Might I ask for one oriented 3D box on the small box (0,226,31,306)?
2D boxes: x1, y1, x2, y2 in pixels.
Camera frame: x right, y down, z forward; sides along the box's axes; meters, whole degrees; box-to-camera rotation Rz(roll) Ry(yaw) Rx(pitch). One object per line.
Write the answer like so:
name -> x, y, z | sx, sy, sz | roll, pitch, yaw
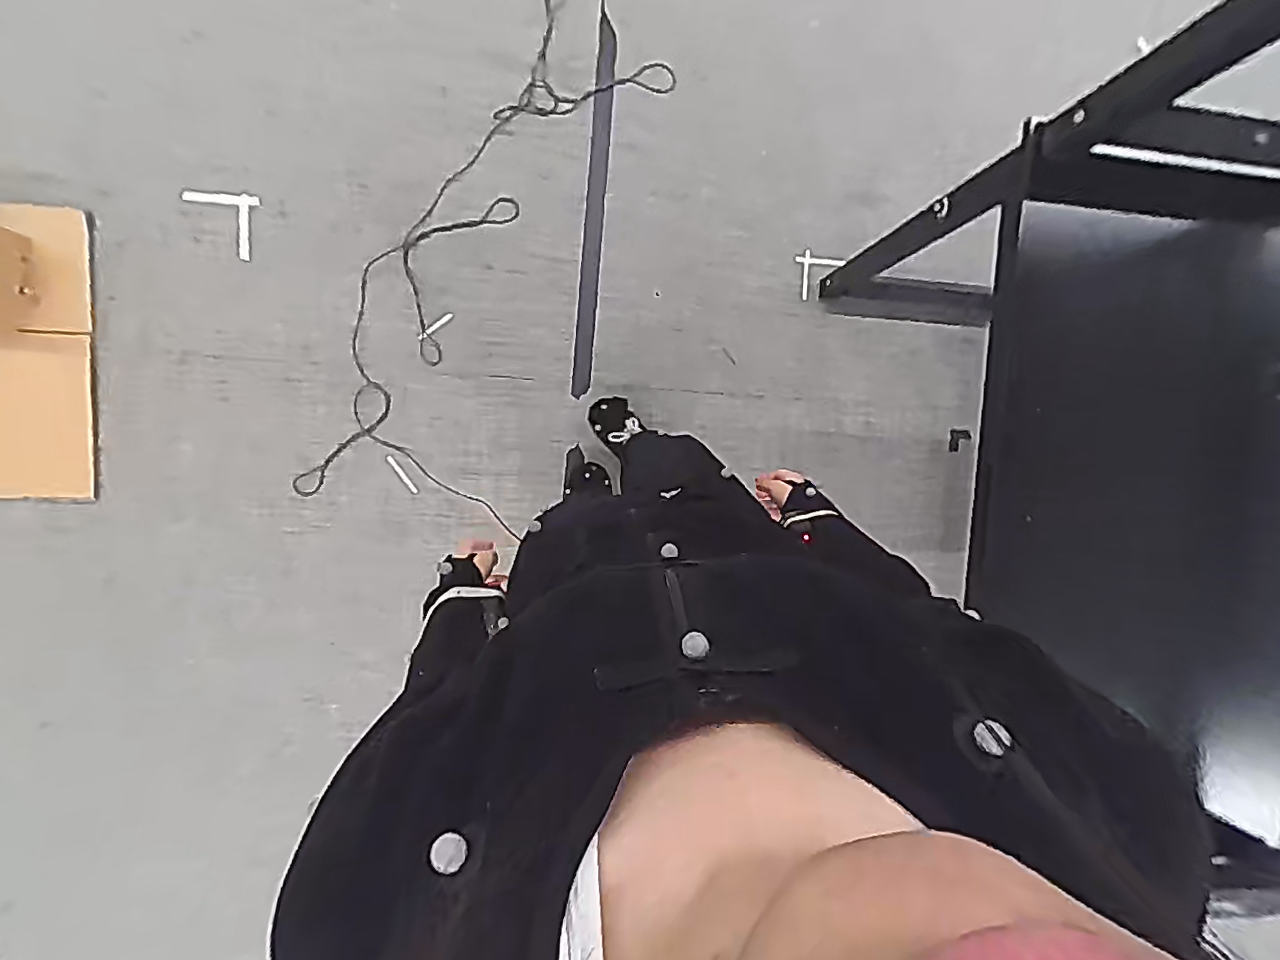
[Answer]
small box -> -1.505, -0.486, 1.185 | 0.179, 0.176, 0.168 | -2, 94, -7
